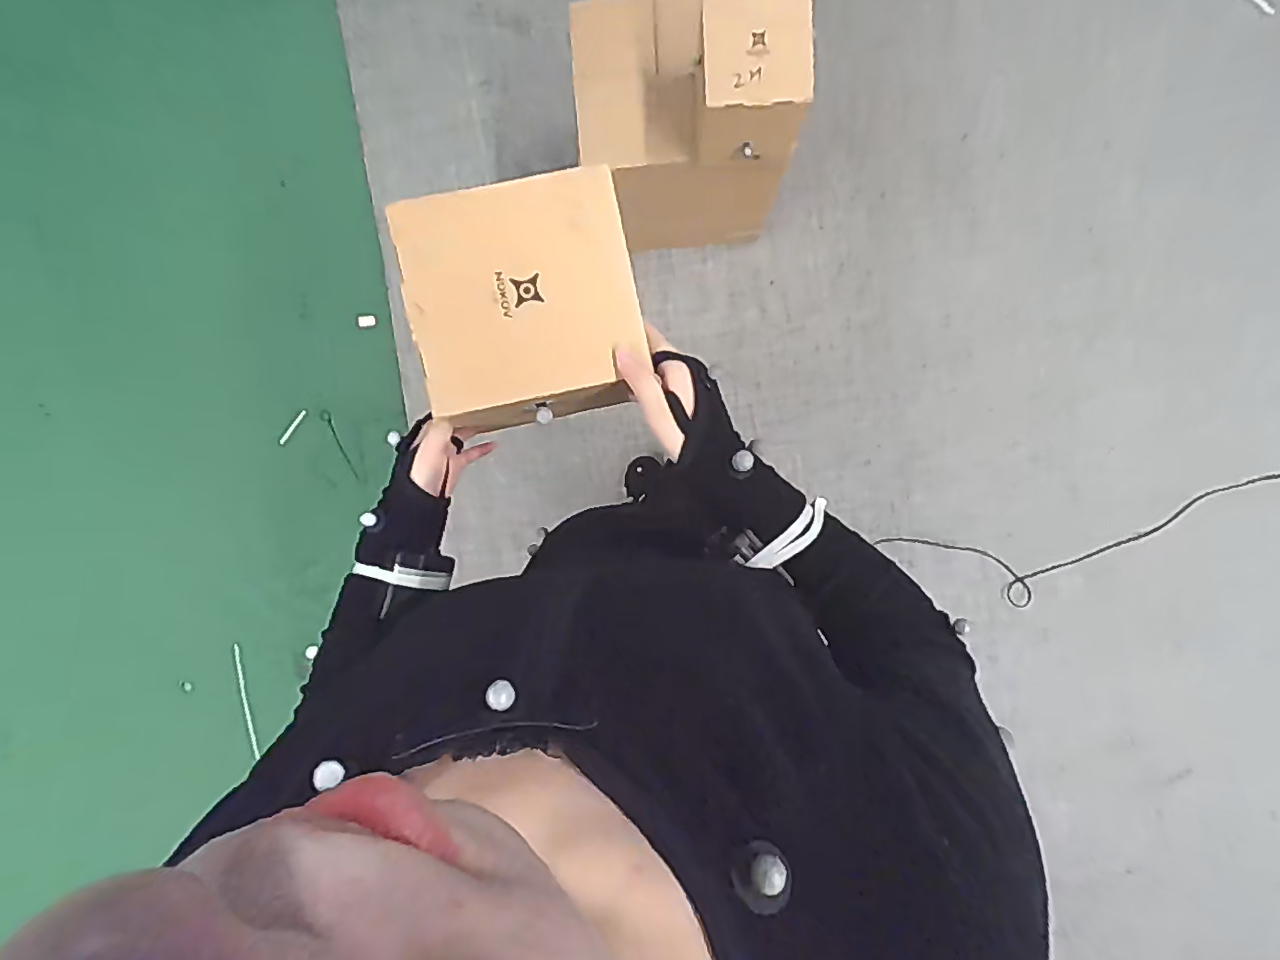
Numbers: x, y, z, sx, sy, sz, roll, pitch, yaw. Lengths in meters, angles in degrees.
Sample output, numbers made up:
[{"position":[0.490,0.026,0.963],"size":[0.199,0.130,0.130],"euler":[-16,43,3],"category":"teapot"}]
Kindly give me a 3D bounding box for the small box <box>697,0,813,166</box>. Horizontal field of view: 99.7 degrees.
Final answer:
[{"position":[0.182,-0.655,0.896],"size":[0.168,0.176,0.179],"euler":[-2,92,3],"category":"small box"}]

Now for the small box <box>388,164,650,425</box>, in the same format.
[{"position":[-0.095,-0.151,0.496],"size":[0.179,0.176,0.168],"euler":[-12,92,-1],"category":"small box"}]
